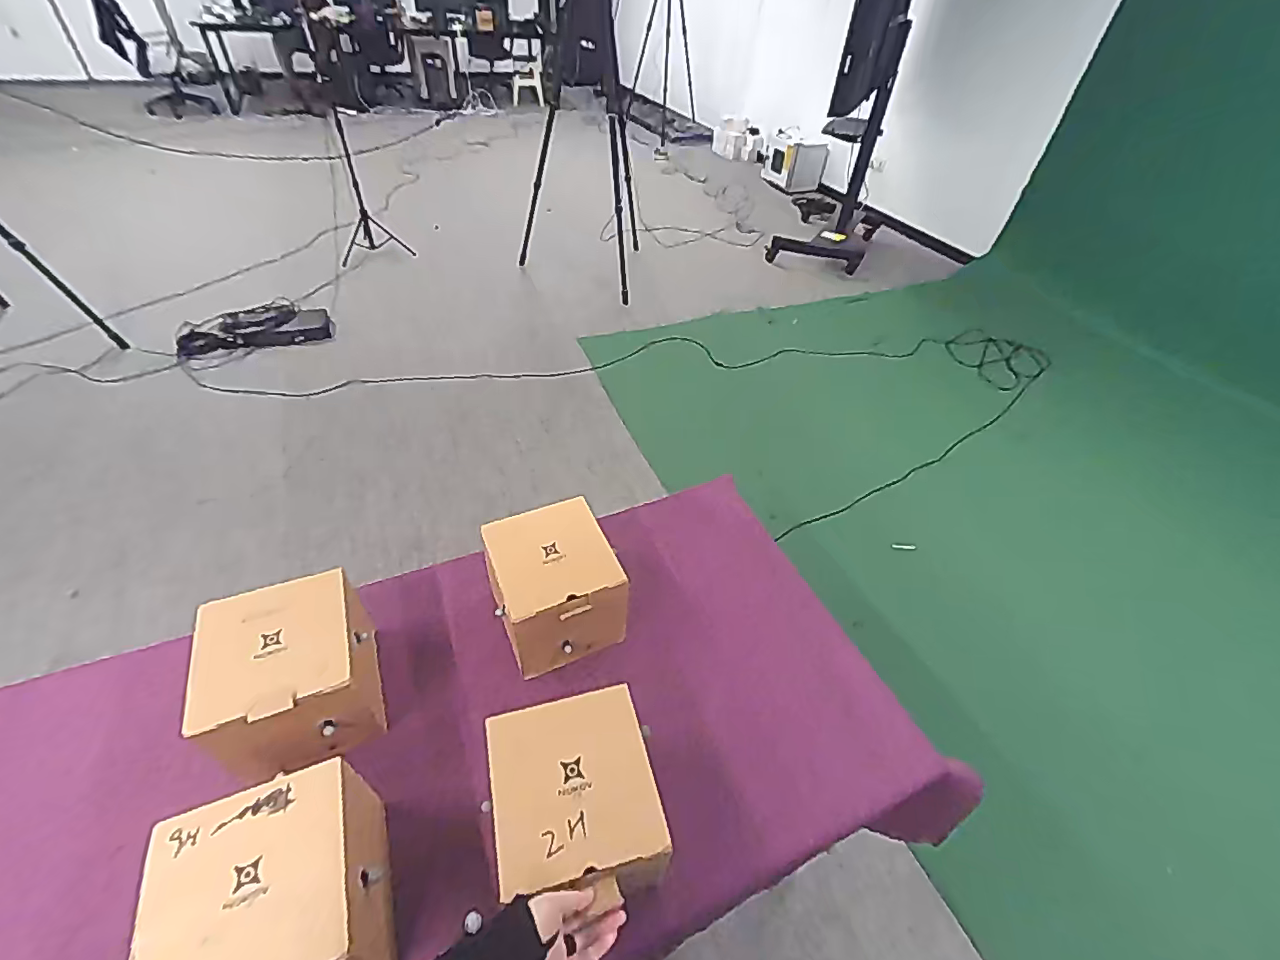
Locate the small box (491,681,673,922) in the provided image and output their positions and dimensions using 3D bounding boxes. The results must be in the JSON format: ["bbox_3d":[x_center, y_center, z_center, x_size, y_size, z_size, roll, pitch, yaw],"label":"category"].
[{"bbox_3d":[-0.072,0.366,0.621,0.168,0.176,0.179,-10,46,-13],"label":"small box"}]

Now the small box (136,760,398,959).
[{"bbox_3d":[-0.355,0.423,0.543,0.168,0.176,0.179,-14,48,-19],"label":"small box"}]

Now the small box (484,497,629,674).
[{"bbox_3d":[-0.129,0.161,0.829,0.168,0.176,0.179,-17,49,-20],"label":"small box"}]

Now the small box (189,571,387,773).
[{"bbox_3d":[-0.443,0.255,0.708,0.168,0.176,0.179,-14,47,-20],"label":"small box"}]
